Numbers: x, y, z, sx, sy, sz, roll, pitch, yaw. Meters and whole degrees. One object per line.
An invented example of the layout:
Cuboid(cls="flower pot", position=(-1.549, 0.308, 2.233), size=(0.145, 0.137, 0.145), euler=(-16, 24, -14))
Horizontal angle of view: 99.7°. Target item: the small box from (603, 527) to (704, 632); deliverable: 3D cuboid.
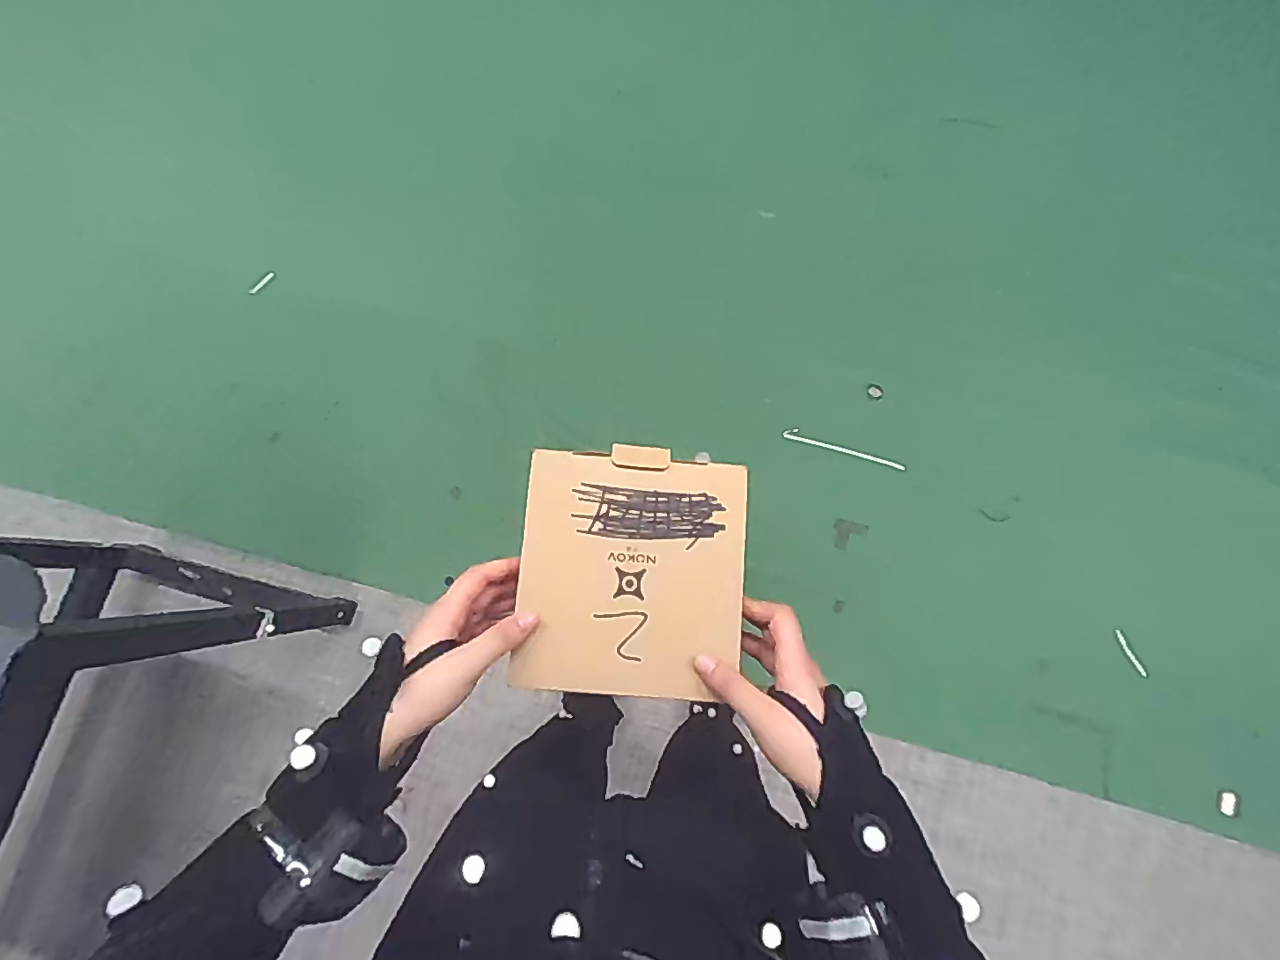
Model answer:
Cuboid(cls="small box", position=(0.031, 0.226, 1.244), size=(0.168, 0.176, 0.179), euler=(-29, 81, -4))
